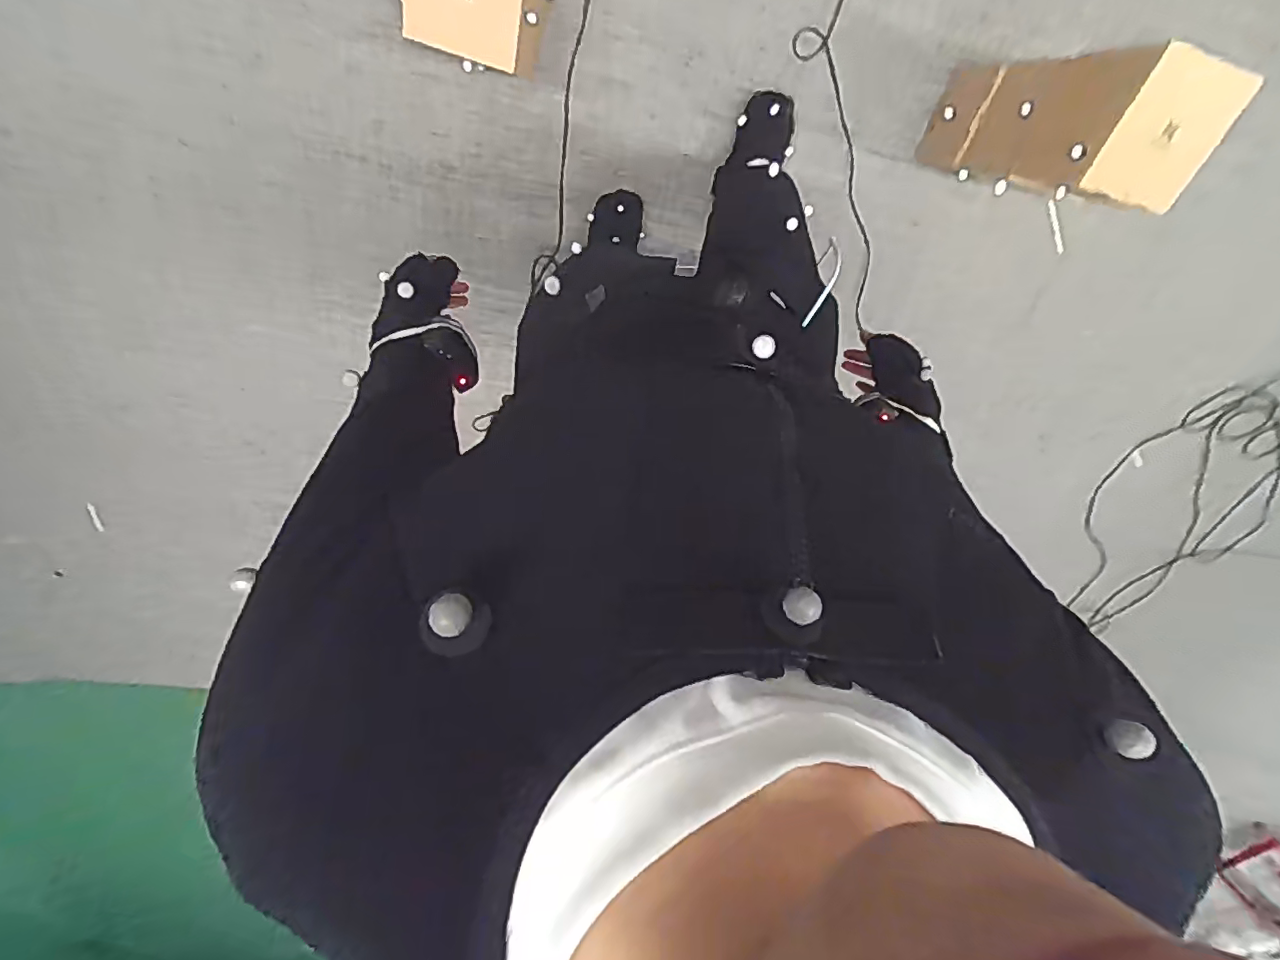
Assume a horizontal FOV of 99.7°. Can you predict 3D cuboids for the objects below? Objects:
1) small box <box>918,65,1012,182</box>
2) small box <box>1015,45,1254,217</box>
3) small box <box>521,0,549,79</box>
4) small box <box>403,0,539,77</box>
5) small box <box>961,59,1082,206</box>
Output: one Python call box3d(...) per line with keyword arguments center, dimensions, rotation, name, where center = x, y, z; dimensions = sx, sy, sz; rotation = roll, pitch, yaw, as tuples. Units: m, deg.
box3d(center=(0.710, -0.715, 1.102), dimensions=(0.179, 0.176, 0.168), rotation=(10, 124, -10), name="small box")
box3d(center=(0.735, -0.532, 0.832), dimensions=(0.168, 0.176, 0.179), rotation=(10, 125, -11), name="small box")
box3d(center=(-0.257, -0.838, 0.948), dimensions=(0.168, 0.176, 0.179), rotation=(14, 123, -12), name="small box")
box3d(center=(-0.250, -0.749, 0.831), dimensions=(0.168, 0.176, 0.179), rotation=(12, 123, -11), name="small box")
box3d(center=(0.725, -0.619, 0.969), dimensions=(0.168, 0.176, 0.179), rotation=(11, 125, -11), name="small box")
